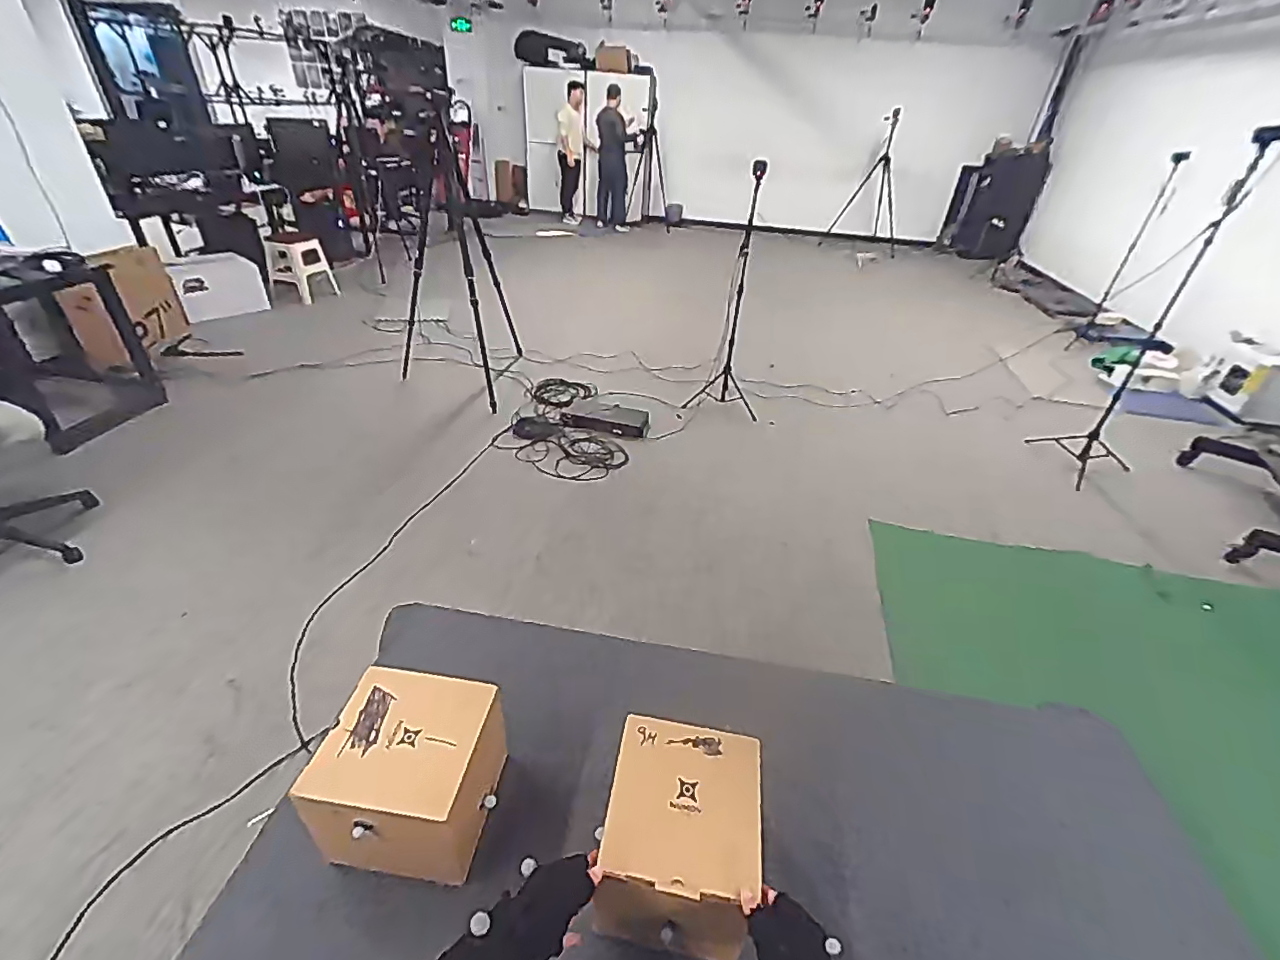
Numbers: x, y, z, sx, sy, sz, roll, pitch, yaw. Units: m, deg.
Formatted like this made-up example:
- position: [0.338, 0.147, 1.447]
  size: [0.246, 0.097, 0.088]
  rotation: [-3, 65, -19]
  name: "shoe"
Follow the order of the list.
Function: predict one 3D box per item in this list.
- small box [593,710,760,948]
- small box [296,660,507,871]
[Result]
- position: [0.046, 0.412, 0.642]
  size: [0.168, 0.176, 0.179]
  rotation: [9, 36, 6]
  name: "small box"
- position: [-0.279, 0.357, 0.680]
  size: [0.179, 0.176, 0.168]
  rotation: [8, 35, 3]
  name: "small box"
